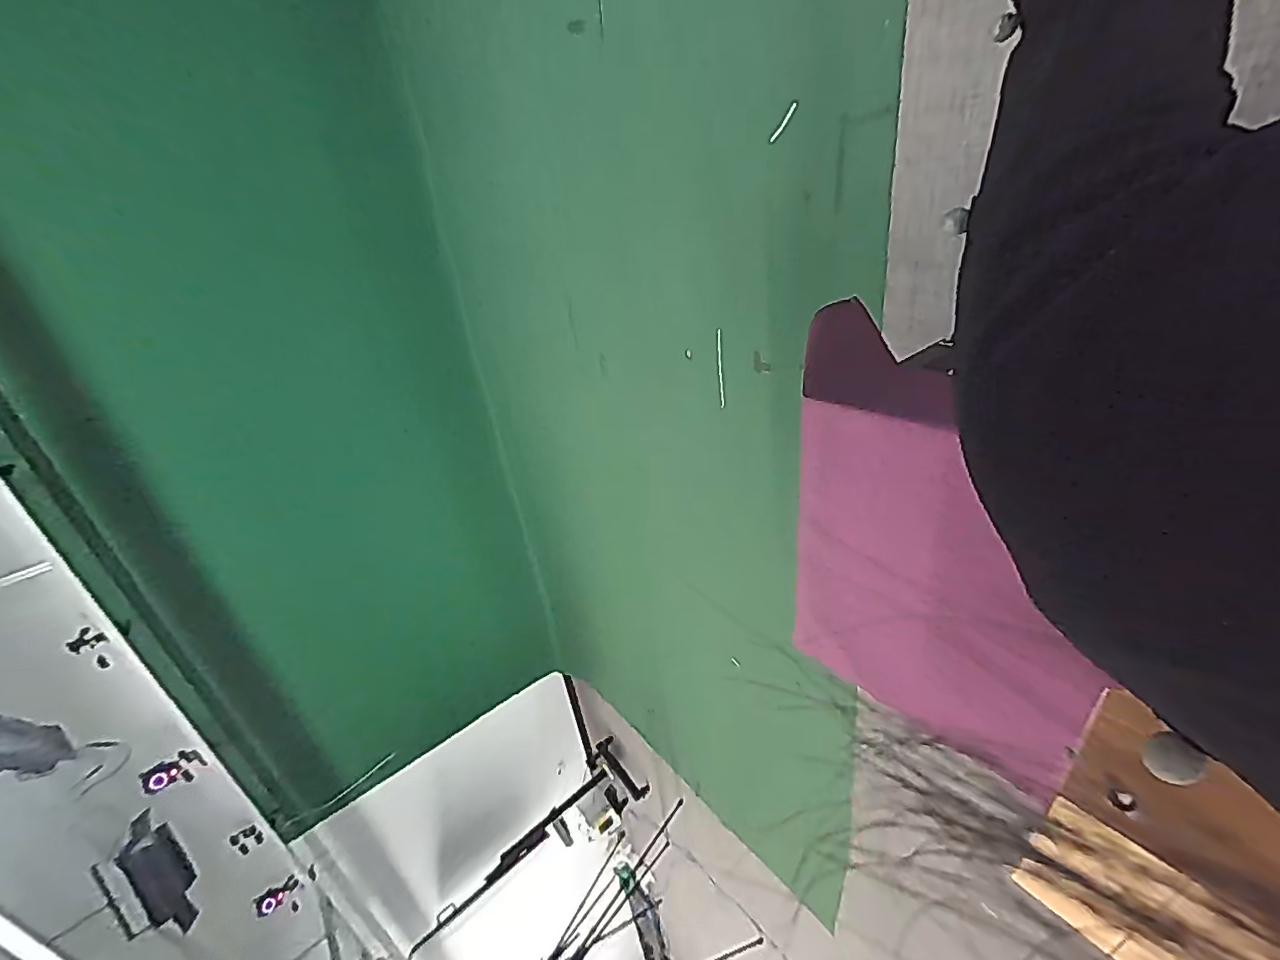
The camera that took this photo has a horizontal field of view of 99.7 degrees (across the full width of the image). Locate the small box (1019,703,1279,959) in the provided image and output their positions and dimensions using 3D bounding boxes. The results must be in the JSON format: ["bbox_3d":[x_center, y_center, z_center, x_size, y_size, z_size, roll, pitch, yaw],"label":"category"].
[{"bbox_3d":[0.509,0.354,0.511,0.179,0.176,0.168,29,135,44],"label":"small box"}]
